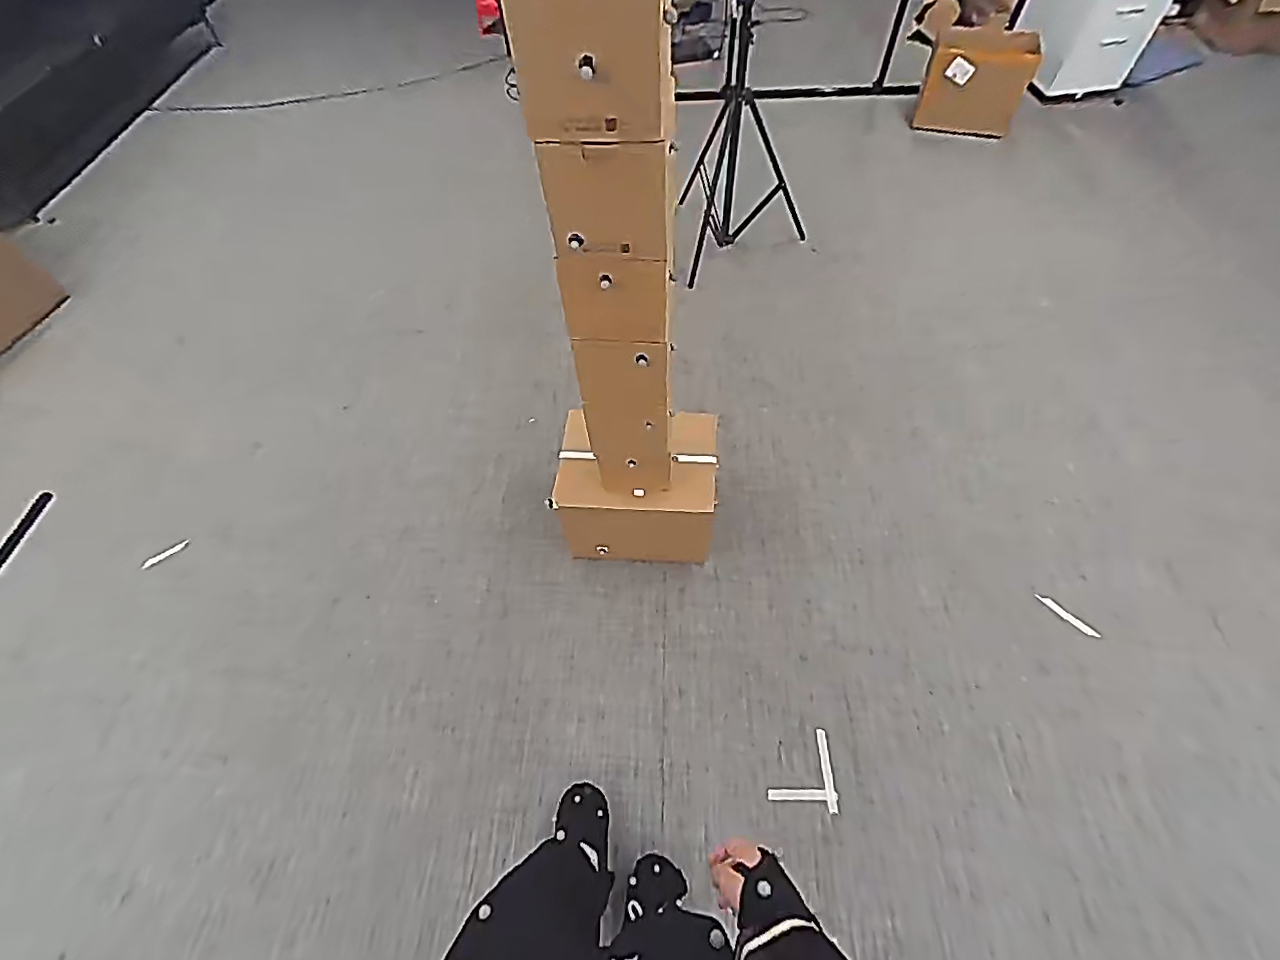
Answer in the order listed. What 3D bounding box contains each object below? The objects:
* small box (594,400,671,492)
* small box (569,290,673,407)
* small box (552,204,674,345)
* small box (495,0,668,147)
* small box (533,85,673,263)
[{"bbox_3d":[-0.012,-0.080,1.328,0.179,0.176,0.168,0,59,2],"label":"small box"},{"bbox_3d":[-0.029,-0.258,1.052,0.179,0.176,0.168,3,58,5],"label":"small box"},{"bbox_3d":[-0.035,-0.345,0.916,0.179,0.176,0.168,3,59,6],"label":"small box"},{"bbox_3d":[-0.054,-0.520,0.639,0.168,0.176,0.179,2,59,5],"label":"small box"},{"bbox_3d":[-0.041,-0.434,0.778,0.168,0.176,0.179,3,58,5],"label":"small box"}]
